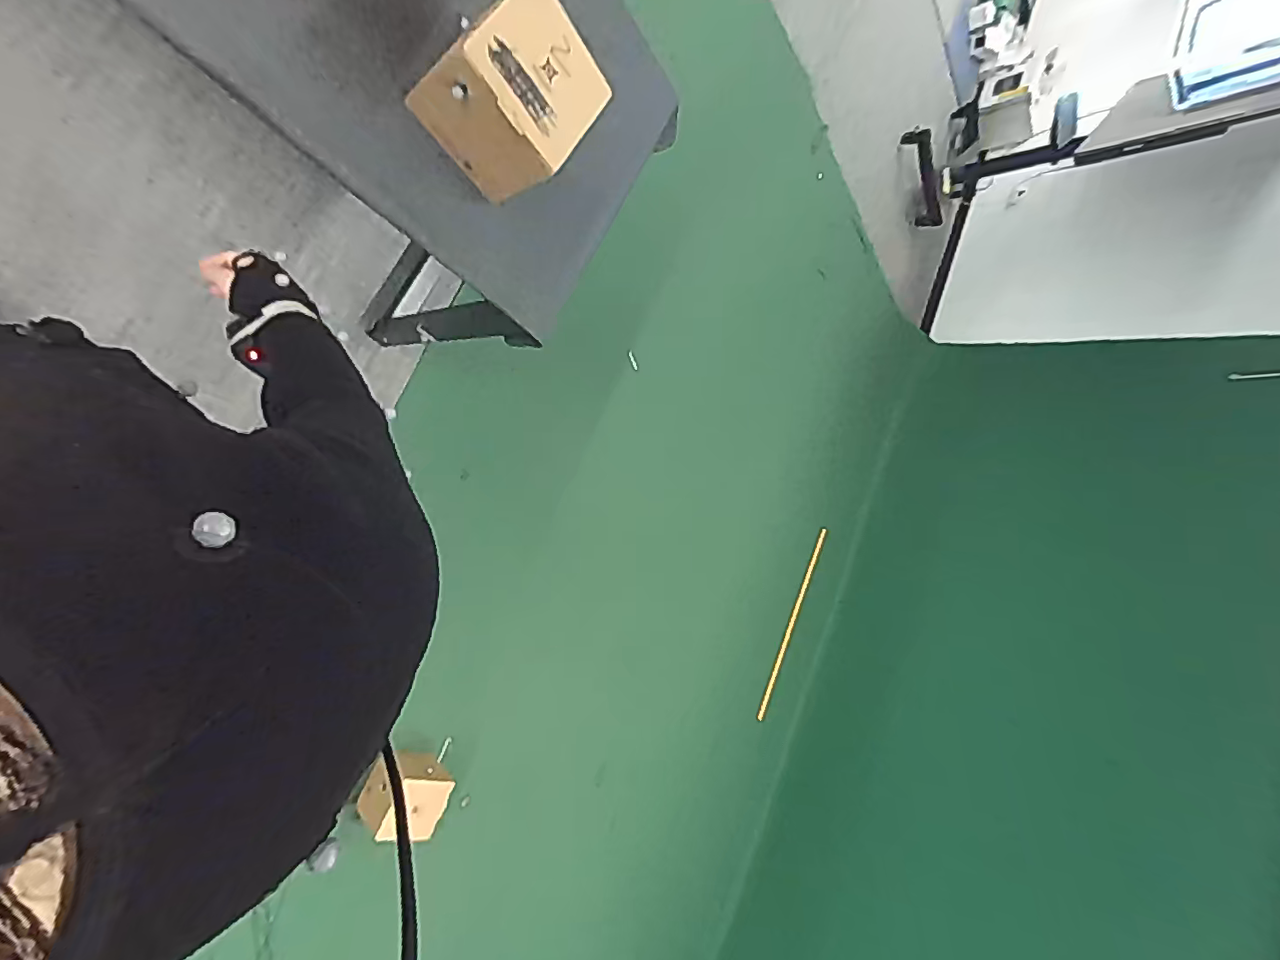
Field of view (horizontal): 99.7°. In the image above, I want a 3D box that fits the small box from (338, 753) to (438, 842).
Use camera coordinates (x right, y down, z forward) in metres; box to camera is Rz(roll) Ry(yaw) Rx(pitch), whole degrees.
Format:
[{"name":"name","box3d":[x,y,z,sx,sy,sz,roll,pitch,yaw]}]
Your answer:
[{"name":"small box","box3d":[-0.731,0.912,1.561,0.179,0.176,0.168,38,70,-45]}]
